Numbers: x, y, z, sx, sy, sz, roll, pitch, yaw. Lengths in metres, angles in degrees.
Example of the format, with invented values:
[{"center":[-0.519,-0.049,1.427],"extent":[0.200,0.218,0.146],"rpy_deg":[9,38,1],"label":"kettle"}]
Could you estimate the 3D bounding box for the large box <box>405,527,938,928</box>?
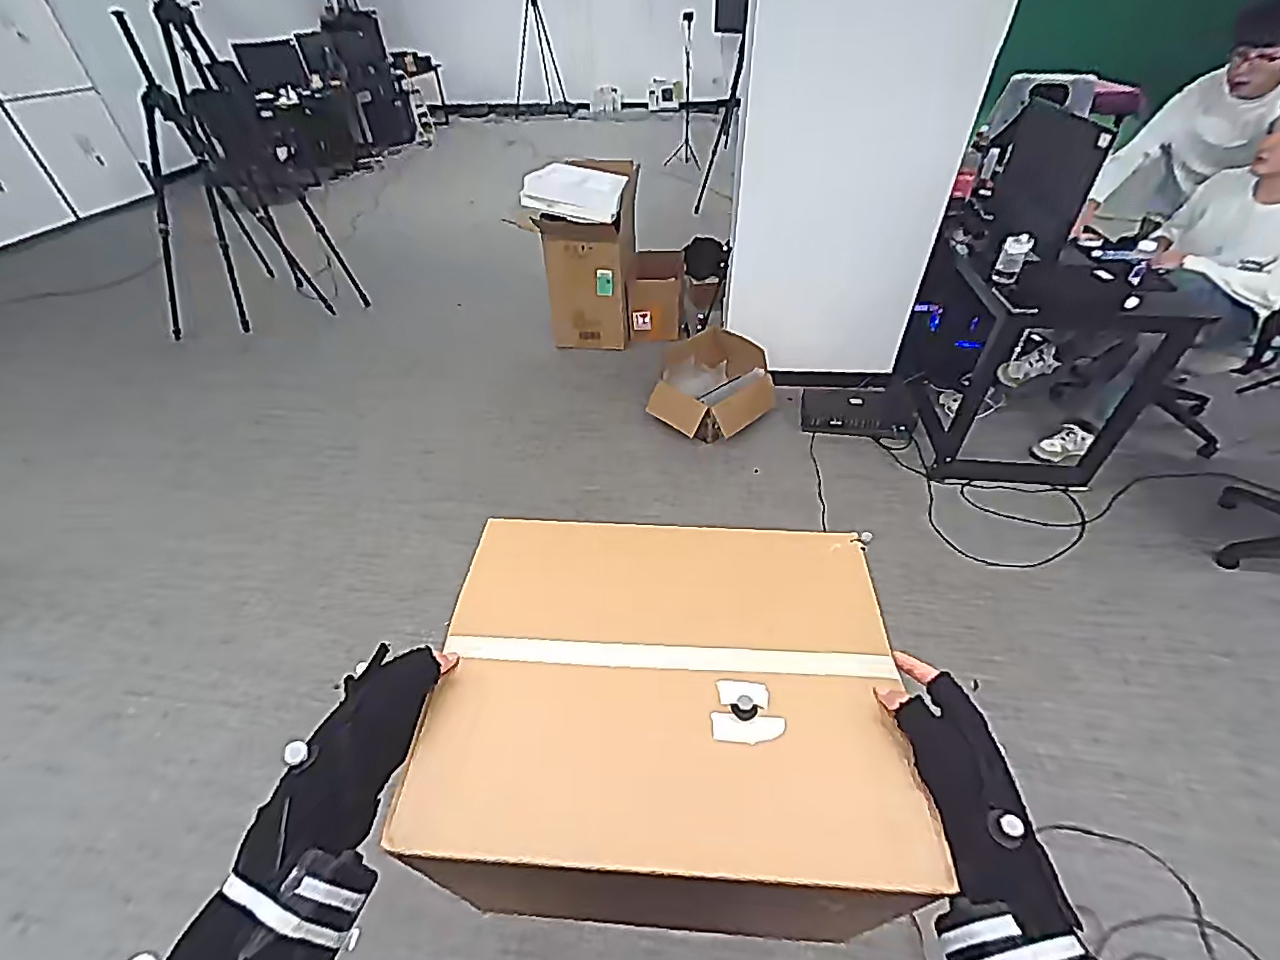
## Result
[{"center":[0.026,0.273,0.605],"extent":[0.408,0.320,0.320],"rpy_deg":[3,45,3],"label":"large box"}]
